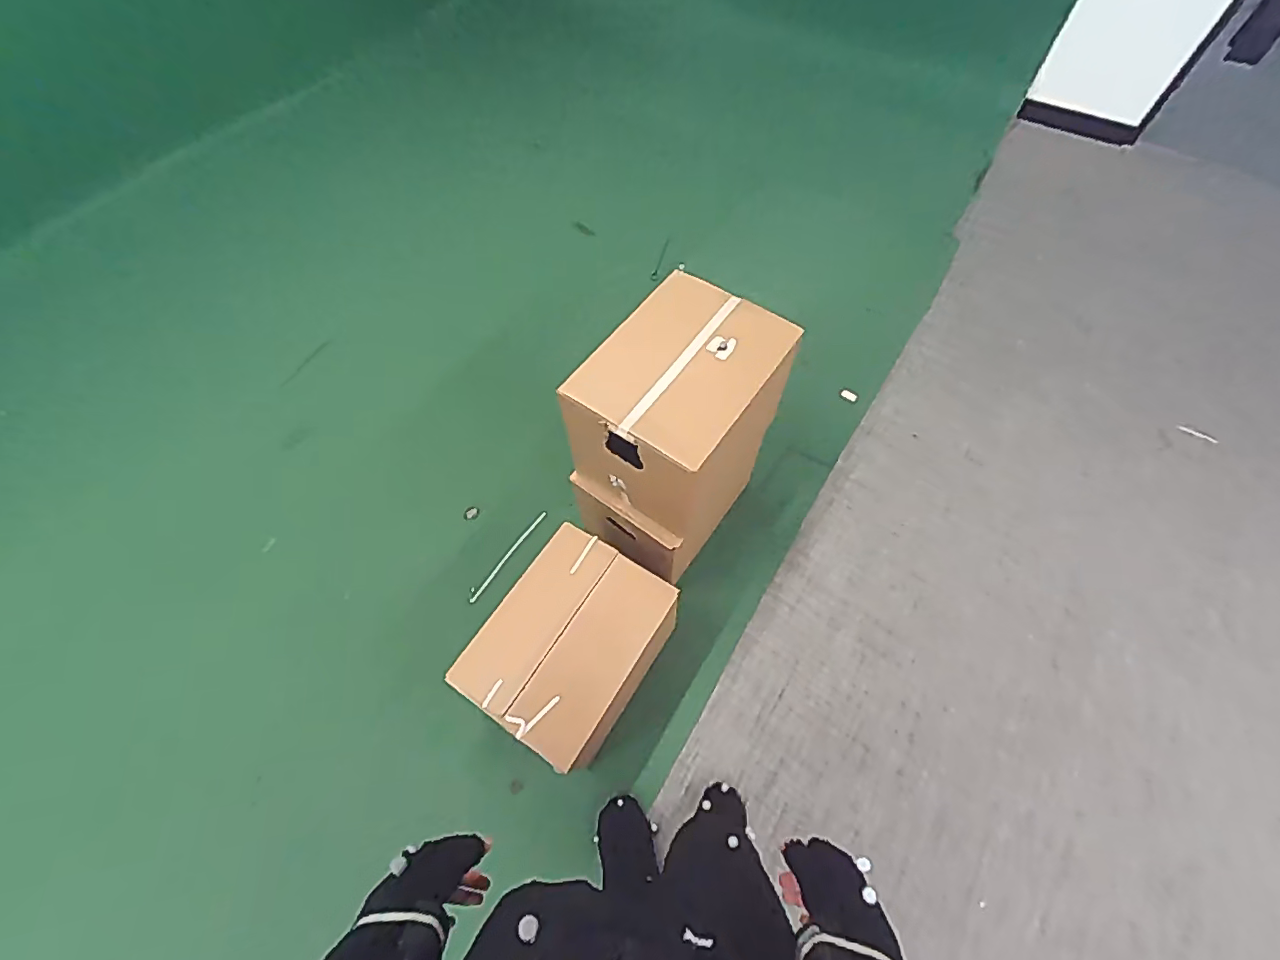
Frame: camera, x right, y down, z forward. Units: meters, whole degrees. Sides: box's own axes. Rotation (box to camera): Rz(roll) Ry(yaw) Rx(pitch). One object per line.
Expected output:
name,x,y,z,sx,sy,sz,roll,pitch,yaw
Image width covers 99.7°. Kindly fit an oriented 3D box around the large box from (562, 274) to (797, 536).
large box,0.084,-0.158,1.181,0.320,0.320,0.408,32,66,16
